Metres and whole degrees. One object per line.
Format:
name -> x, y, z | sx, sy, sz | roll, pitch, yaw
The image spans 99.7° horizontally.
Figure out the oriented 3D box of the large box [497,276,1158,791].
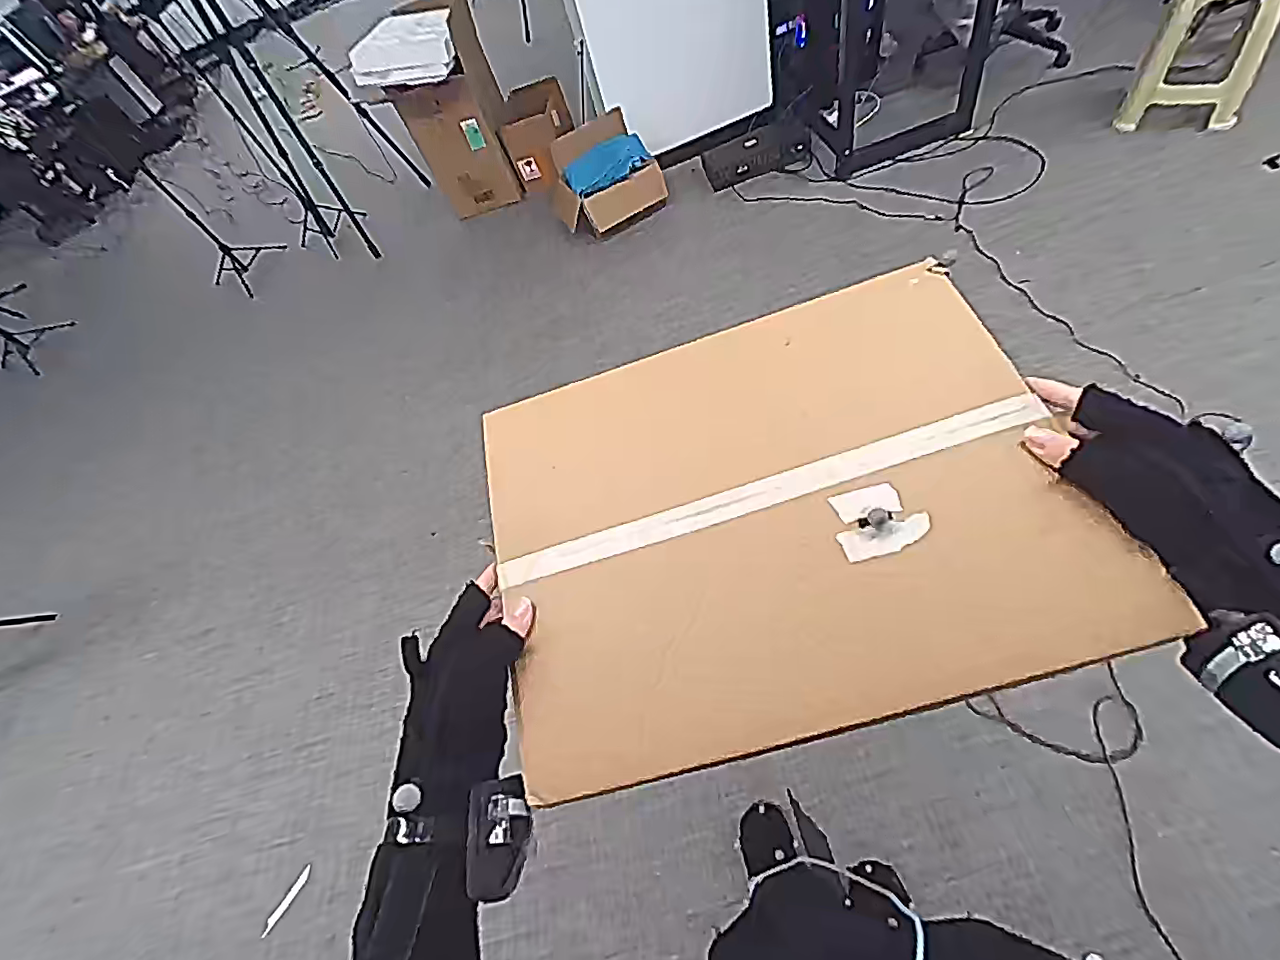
large box -> 0.122, 0.079, 0.539 | 0.408, 0.320, 0.320 | -18, 62, 5
